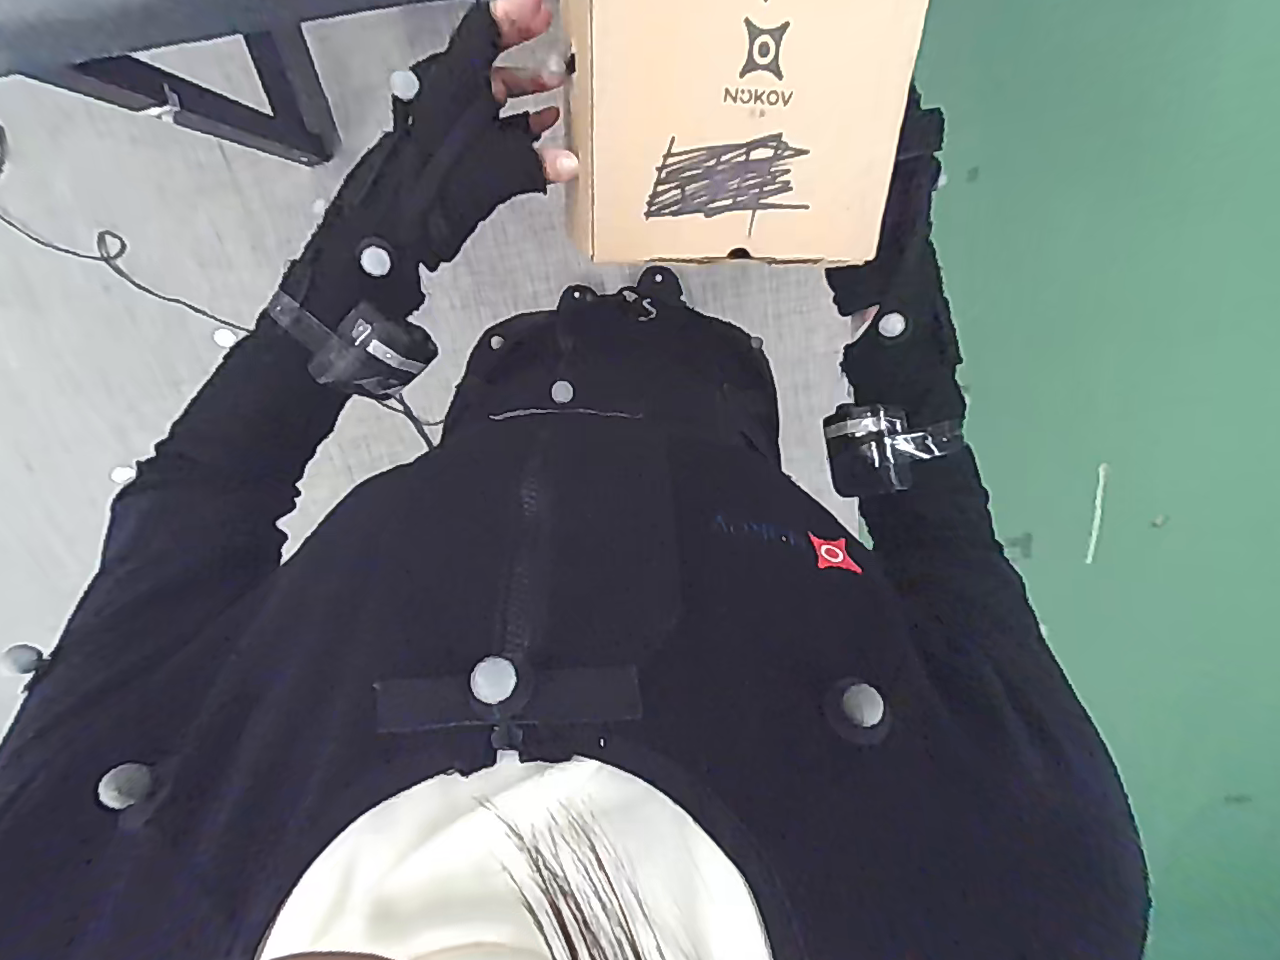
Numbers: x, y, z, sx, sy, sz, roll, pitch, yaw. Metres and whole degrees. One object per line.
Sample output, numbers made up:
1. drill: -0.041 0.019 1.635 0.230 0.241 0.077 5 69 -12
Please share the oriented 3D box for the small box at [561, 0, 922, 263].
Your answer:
1. small box: 0.041 -0.242 0.337 0.168 0.176 0.179 -3 119 -12
